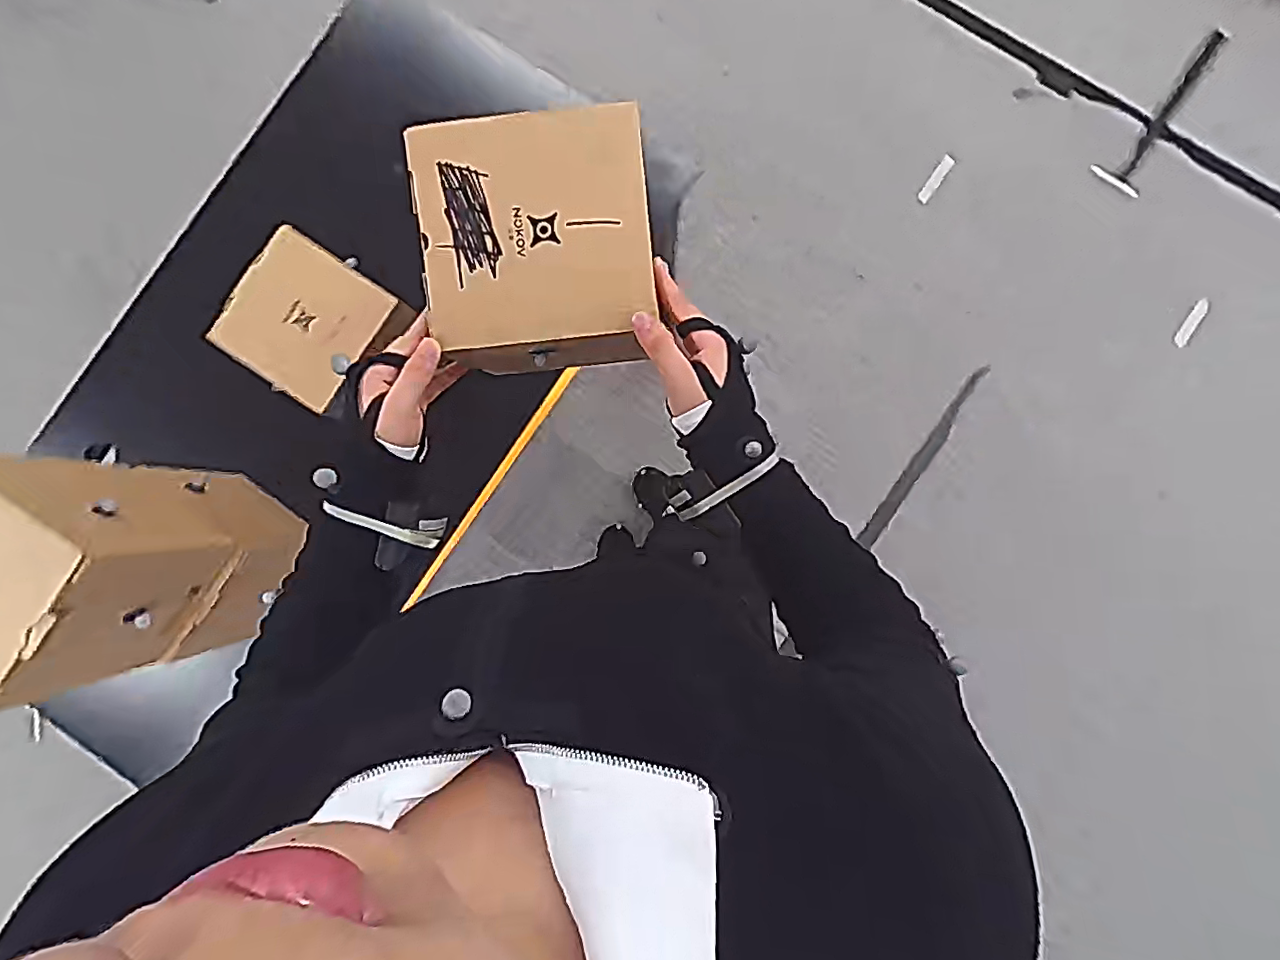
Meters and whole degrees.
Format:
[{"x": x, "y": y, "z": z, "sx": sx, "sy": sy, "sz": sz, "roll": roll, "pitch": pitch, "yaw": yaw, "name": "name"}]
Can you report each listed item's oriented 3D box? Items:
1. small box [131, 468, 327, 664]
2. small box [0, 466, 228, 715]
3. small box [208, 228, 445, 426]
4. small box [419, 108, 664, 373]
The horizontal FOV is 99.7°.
[{"x": -0.568, "y": 0.105, "z": 0.709, "sx": 0.179, "sy": 0.176, "sz": 0.168, "roll": 35, "pitch": 89, "yaw": 3, "name": "small box"}, {"x": -0.582, "y": 0.093, "z": 0.546, "sx": 0.179, "sy": 0.176, "sz": 0.168, "roll": 32, "pitch": 88, "yaw": 2, "name": "small box"}, {"x": -0.400, "y": -0.187, "z": 0.722, "sx": 0.179, "sy": 0.176, "sz": 0.168, "roll": 33, "pitch": 90, "yaw": 2, "name": "small box"}, {"x": -0.070, "y": -0.192, "z": 0.484, "sx": 0.179, "sy": 0.176, "sz": 0.168, "roll": -4, "pitch": 95, "yaw": 1, "name": "small box"}]
